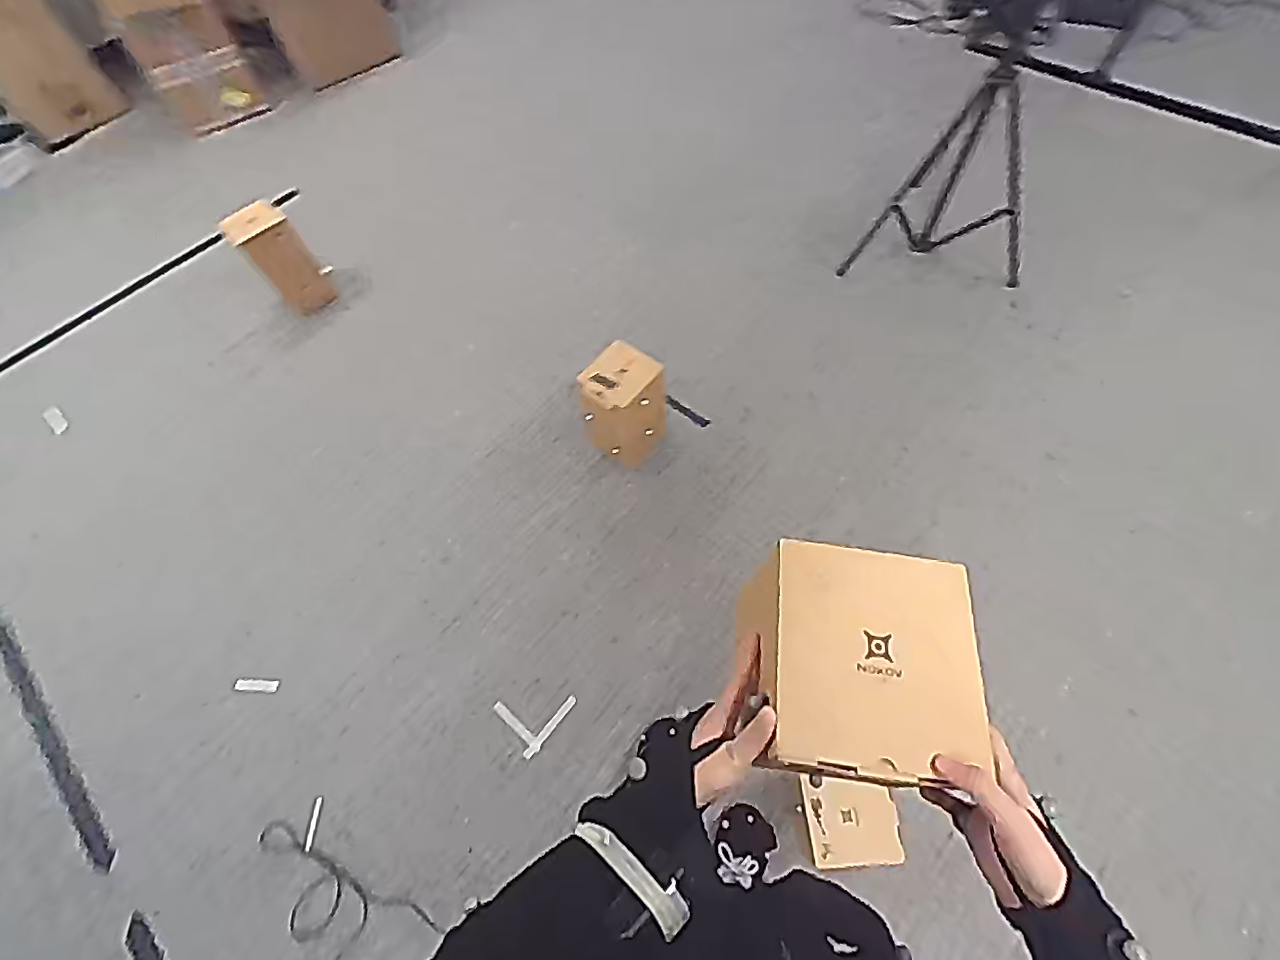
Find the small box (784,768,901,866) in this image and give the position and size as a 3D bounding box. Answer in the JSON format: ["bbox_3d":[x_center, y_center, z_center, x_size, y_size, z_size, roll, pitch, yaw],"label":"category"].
[{"bbox_3d":[0.420,0.704,1.151,0.179,0.176,0.168,-4,64,2],"label":"small box"}]

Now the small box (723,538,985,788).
[{"bbox_3d":[0.177,0.173,0.504,0.168,0.176,0.179,8,64,0],"label":"small box"}]

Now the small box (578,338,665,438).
[{"bbox_3d":[-0.042,-0.247,1.487,0.168,0.176,0.179,35,70,19],"label":"small box"}]

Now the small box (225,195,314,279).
[{"bbox_3d":[-1.274,-0.839,1.877,0.179,0.176,0.168,-41,67,-15],"label":"small box"}]

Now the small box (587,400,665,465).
[{"bbox_3d":[-0.036,-0.175,1.636,0.168,0.176,0.179,34,69,18],"label":"small box"}]
